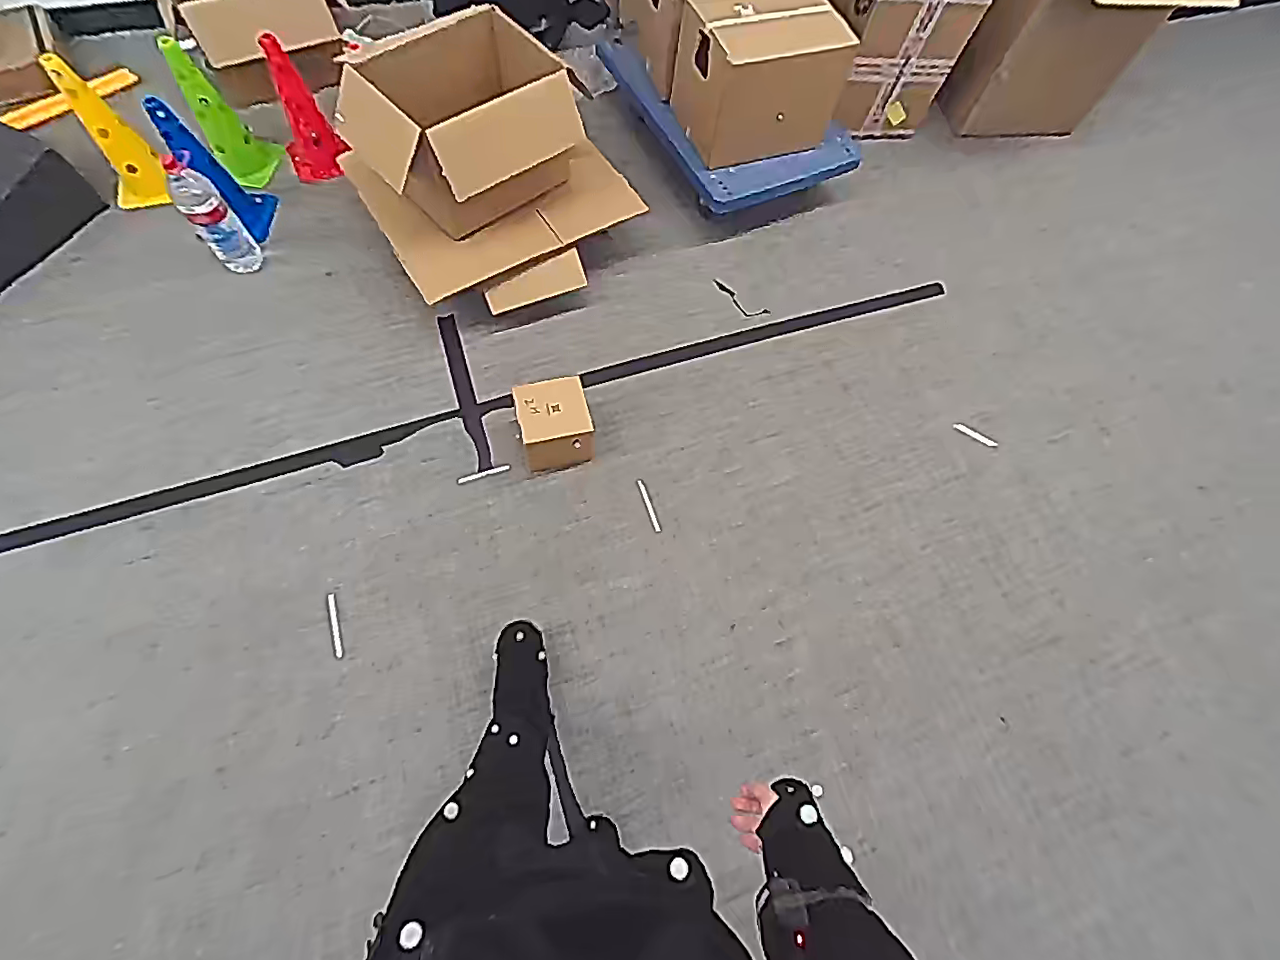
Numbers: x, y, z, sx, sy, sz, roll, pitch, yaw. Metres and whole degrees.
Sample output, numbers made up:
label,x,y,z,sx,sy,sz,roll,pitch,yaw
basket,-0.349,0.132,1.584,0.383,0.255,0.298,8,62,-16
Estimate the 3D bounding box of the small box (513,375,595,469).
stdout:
label,x,y,z,sx,sy,sz,roll,pitch,yaw
small box,-0.223,-0.147,1.404,0.179,0.176,0.168,-13,69,-11
